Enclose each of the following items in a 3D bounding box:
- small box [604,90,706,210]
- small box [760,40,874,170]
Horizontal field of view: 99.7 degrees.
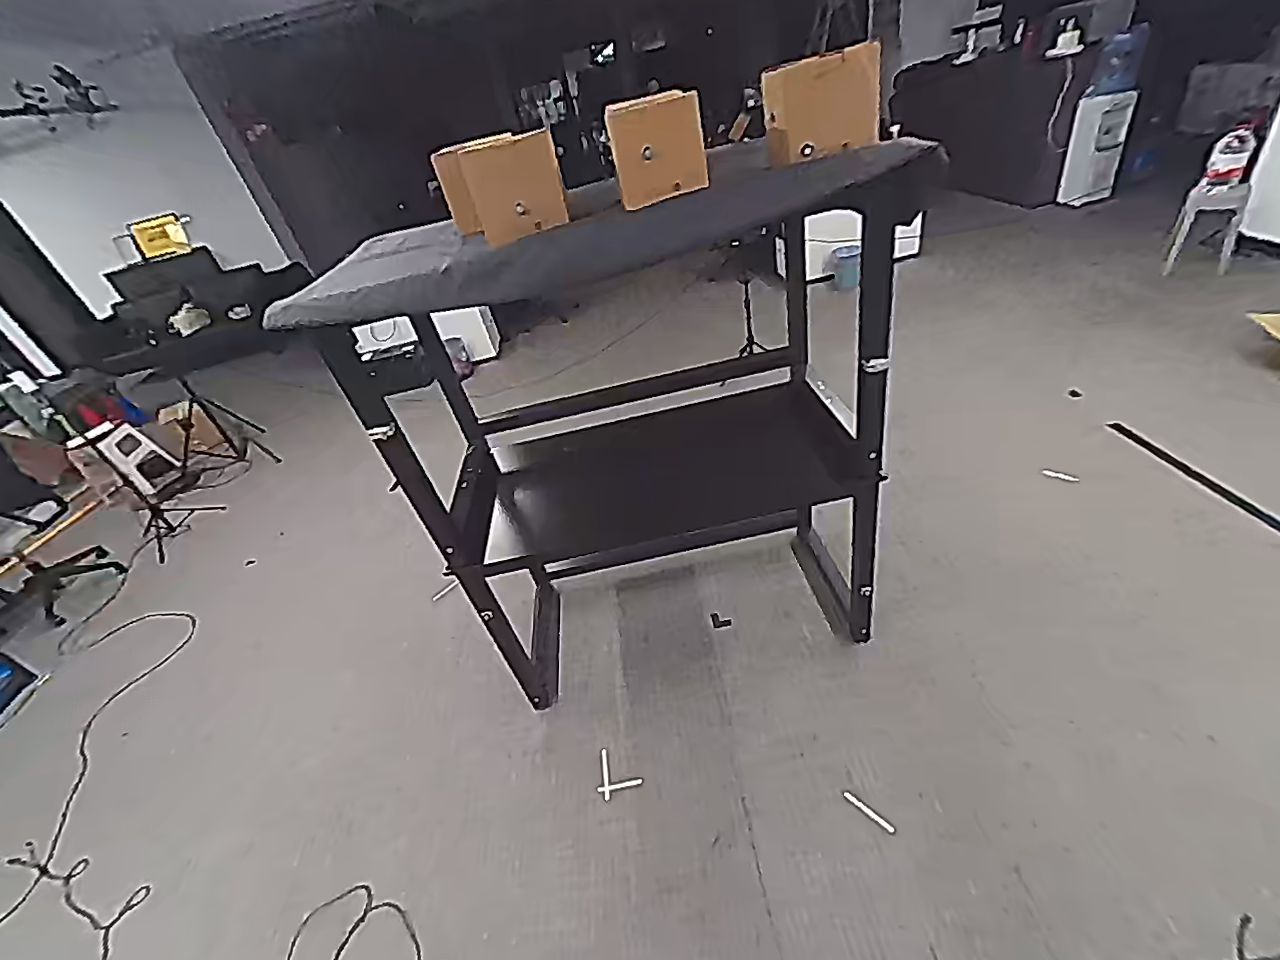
[{"bbox_3d":[0.030,-0.653,1.079,0.168,0.176,0.179,-13,33,2],"label":"small box"},{"bbox_3d":[0.338,-0.711,1.041,0.168,0.176,0.179,-12,32,5],"label":"small box"}]
